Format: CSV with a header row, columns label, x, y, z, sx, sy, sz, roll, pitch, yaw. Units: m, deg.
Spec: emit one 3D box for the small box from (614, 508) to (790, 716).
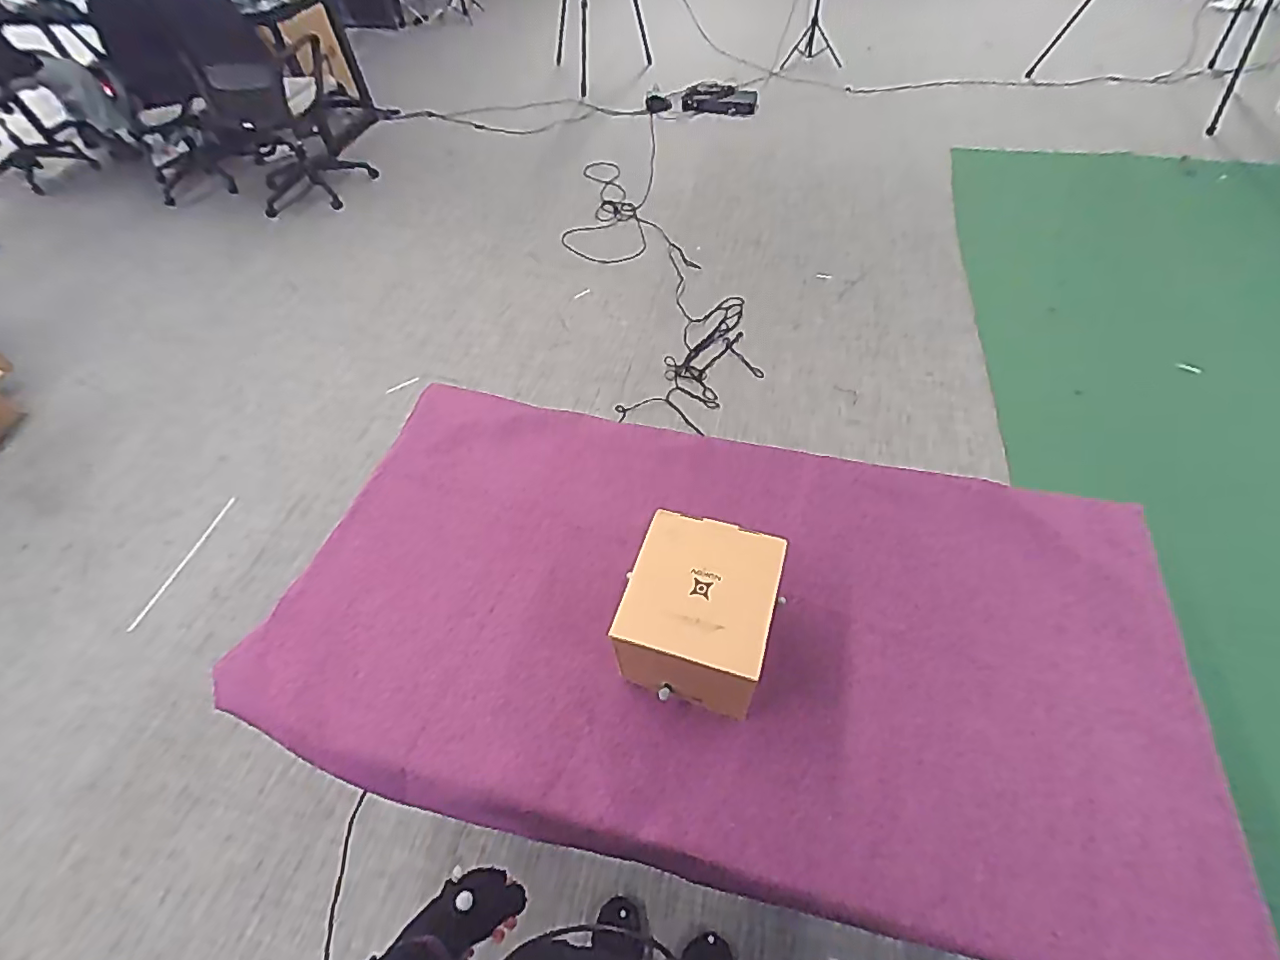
label,x,y,z,sx,sy,sz,roll,pitch,yaw
small box,0.078,0.166,0.674,0.168,0.176,0.179,13,56,15
